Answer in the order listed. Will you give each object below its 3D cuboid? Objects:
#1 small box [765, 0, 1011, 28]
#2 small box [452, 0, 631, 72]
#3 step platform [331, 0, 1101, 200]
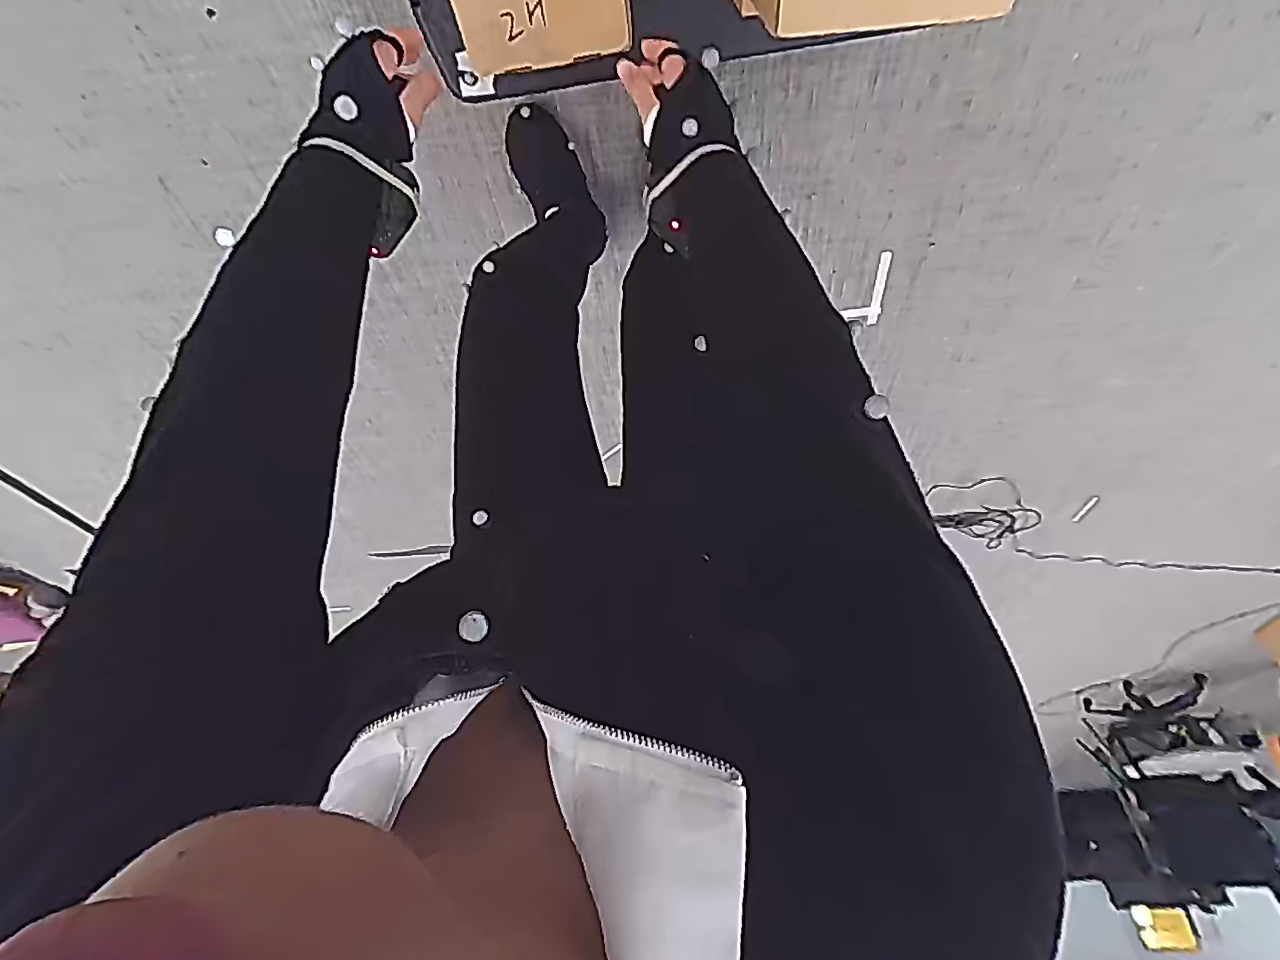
[{"bbox_3d":[0.179,-0.453,0.389,0.179,0.176,0.168,-3,141,2],"label":"small box"},{"bbox_3d":[-0.103,-0.540,0.530,0.168,0.176,0.179,-6,141,6],"label":"small box"},{"bbox_3d":[0.067,-0.499,0.531,0.684,0.204,0.286,-6,141,5],"label":"step platform"}]
